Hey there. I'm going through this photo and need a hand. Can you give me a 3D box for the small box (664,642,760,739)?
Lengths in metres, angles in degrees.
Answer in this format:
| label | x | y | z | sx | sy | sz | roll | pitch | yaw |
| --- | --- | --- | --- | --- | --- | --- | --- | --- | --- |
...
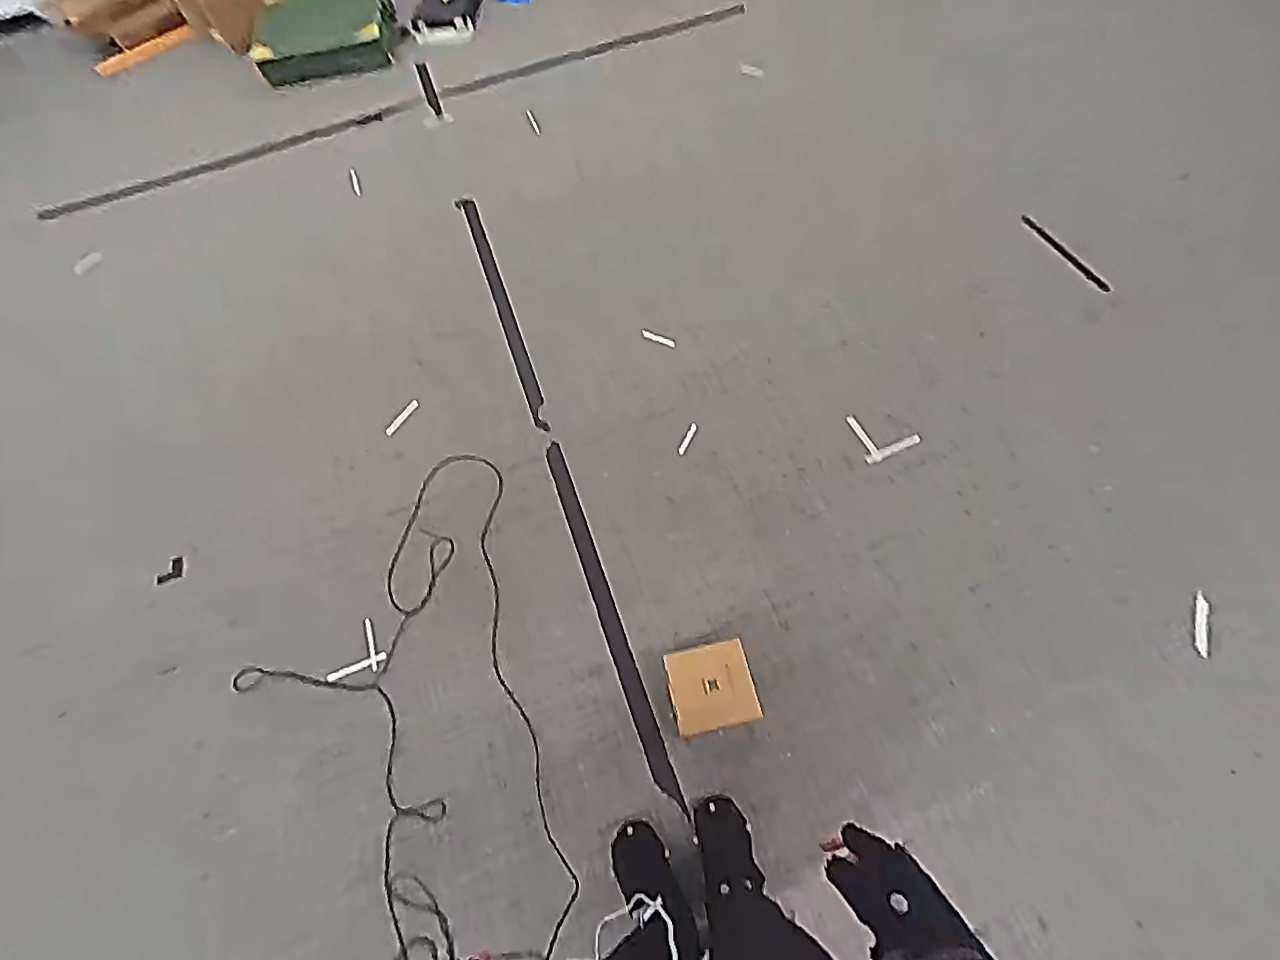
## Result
| label | x | y | z | sx | sy | sz | roll | pitch | yaw |
| --- | --- | --- | --- | --- | --- | --- | --- | --- | --- |
| small box | 0.159 | 0.483 | 1.230 | 0.179 | 0.176 | 0.168 | -12 | 63 | -2 |
